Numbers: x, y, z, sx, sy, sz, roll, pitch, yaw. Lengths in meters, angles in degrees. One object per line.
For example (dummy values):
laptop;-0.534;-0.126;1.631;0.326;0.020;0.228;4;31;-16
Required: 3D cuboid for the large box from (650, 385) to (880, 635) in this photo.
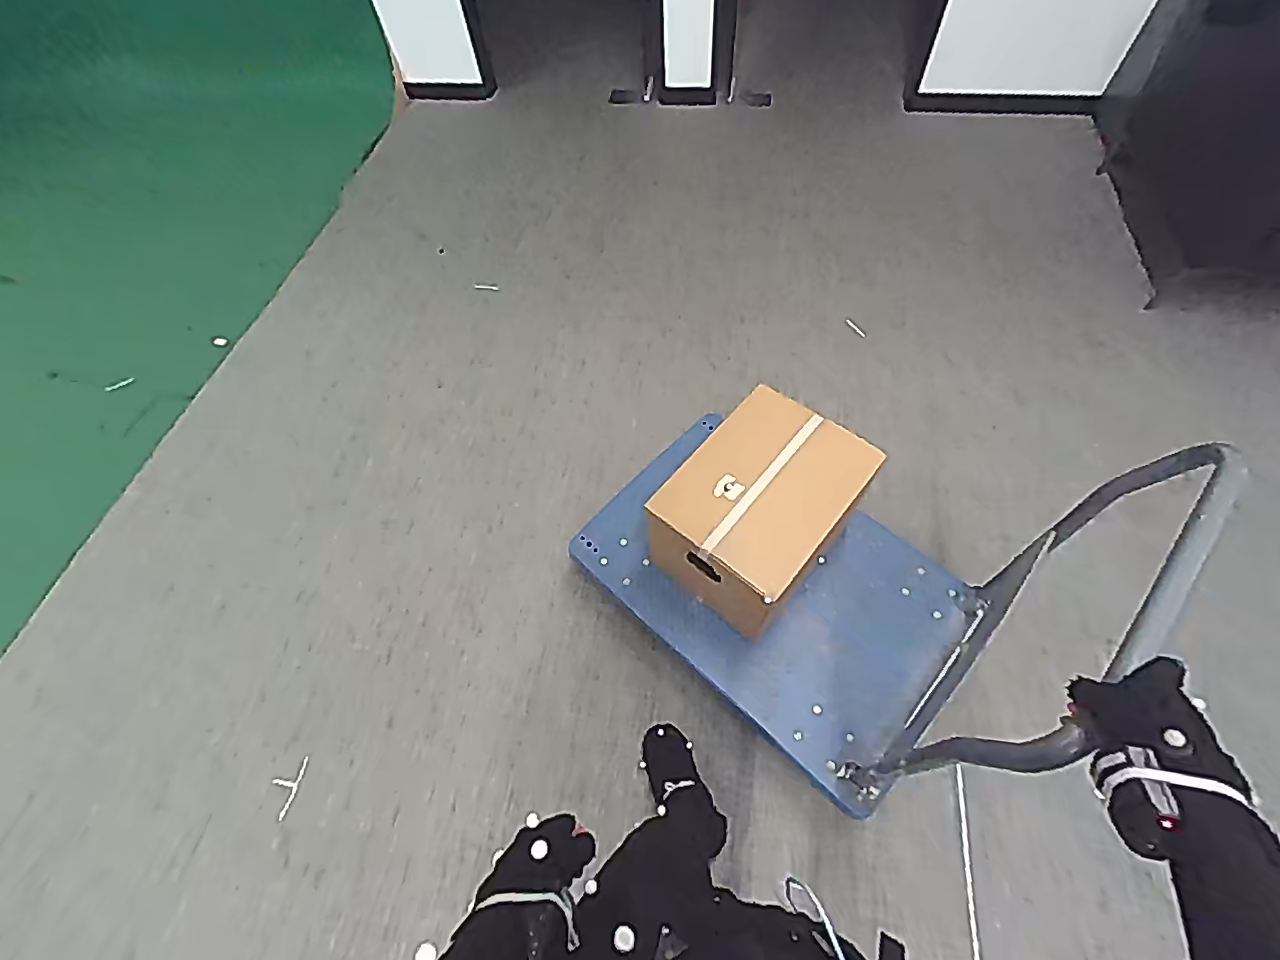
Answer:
large box;0.269;0.072;1.229;0.320;0.320;0.408;35;69;22
